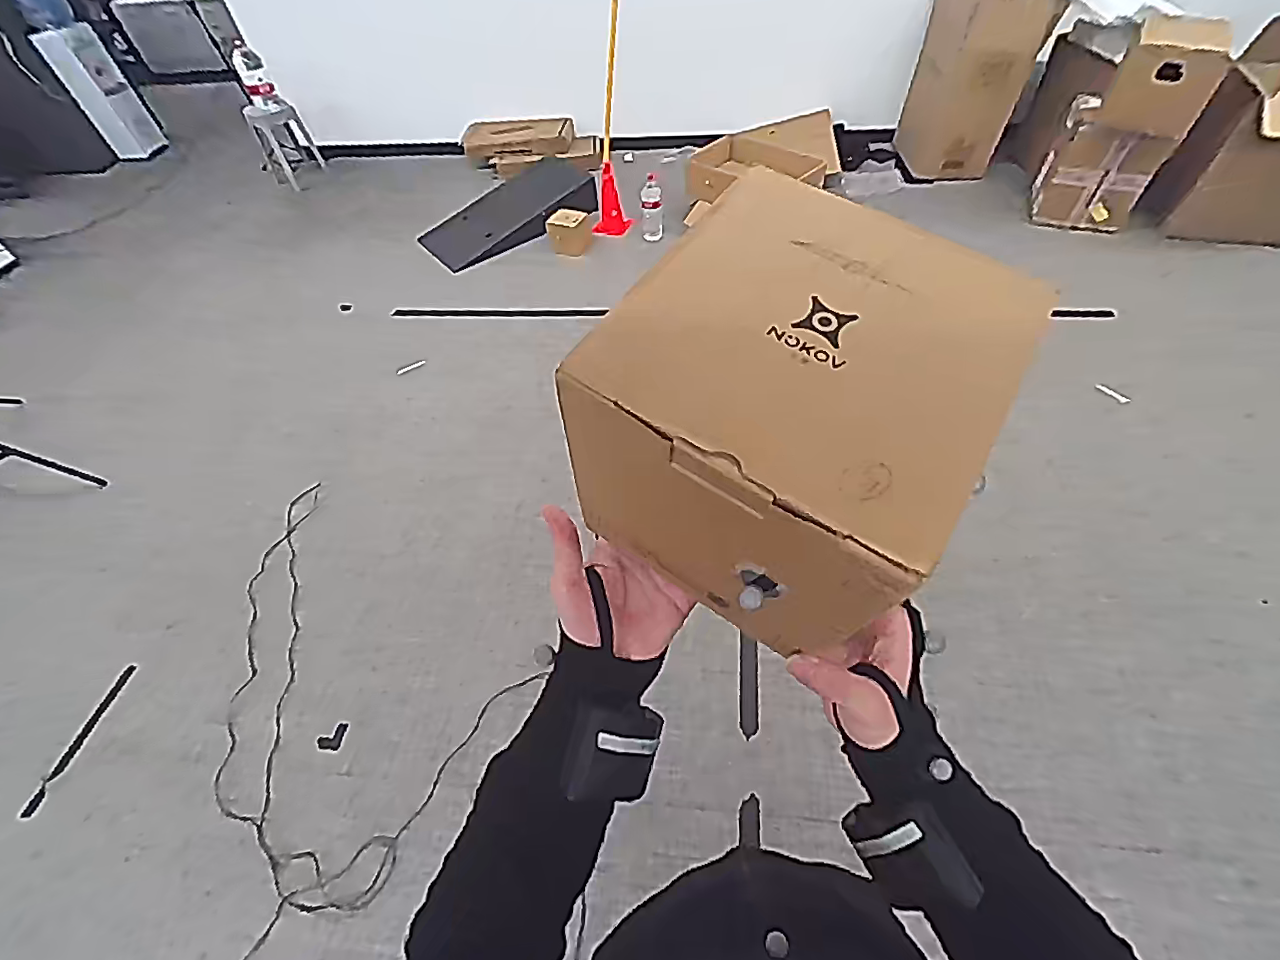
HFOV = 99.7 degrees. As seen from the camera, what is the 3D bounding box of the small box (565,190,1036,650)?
[{"bbox_3d":[0.080,-0.024,0.322,0.168,0.176,0.179,31,65,14],"label":"small box"}]
